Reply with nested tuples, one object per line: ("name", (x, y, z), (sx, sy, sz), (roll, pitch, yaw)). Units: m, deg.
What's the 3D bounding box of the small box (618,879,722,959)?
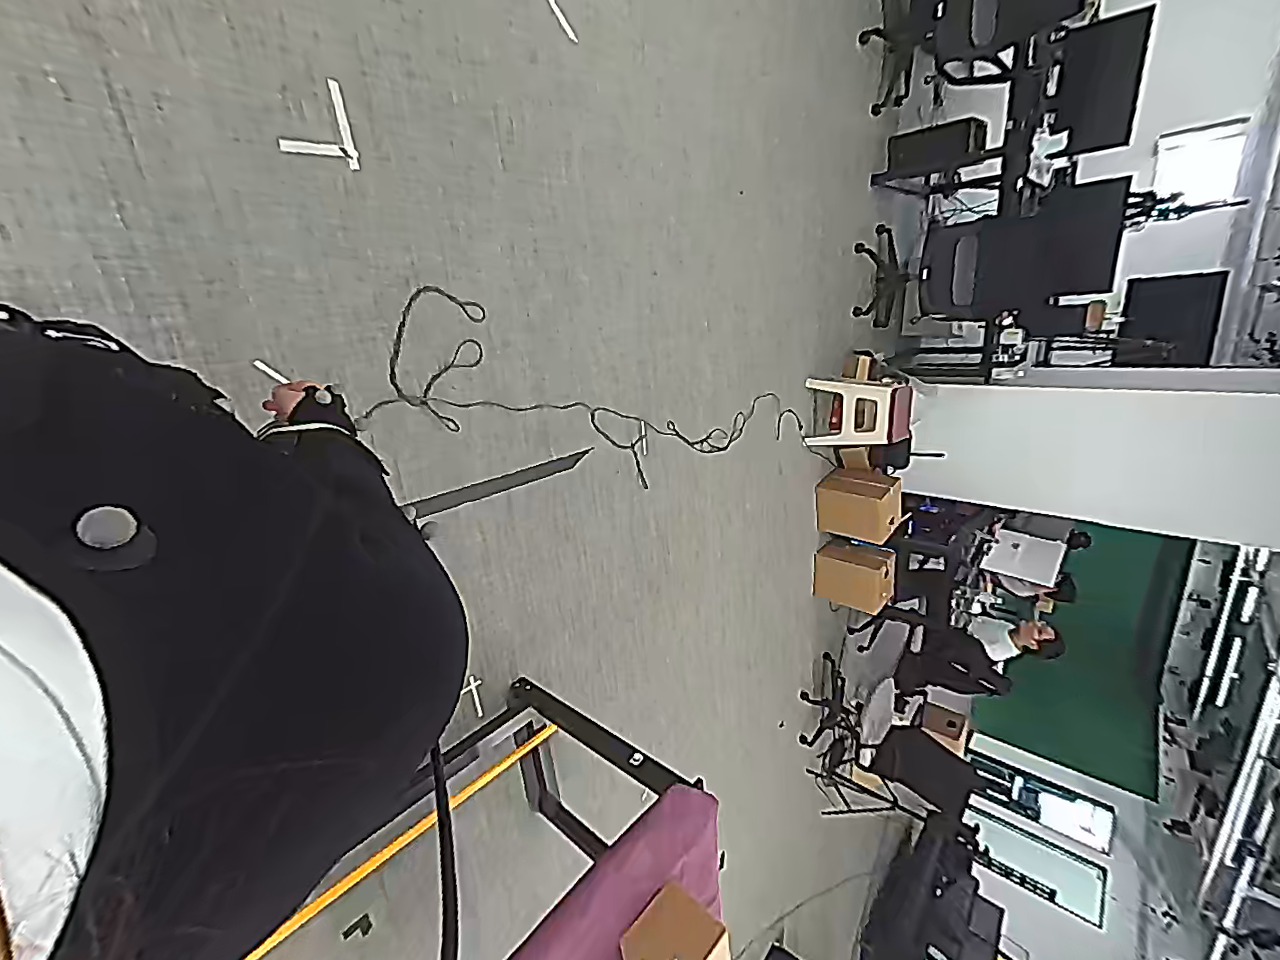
("small box", (0.064, 1.062, 1.207), (0.179, 0.176, 0.168), (-25, 117, -41))
